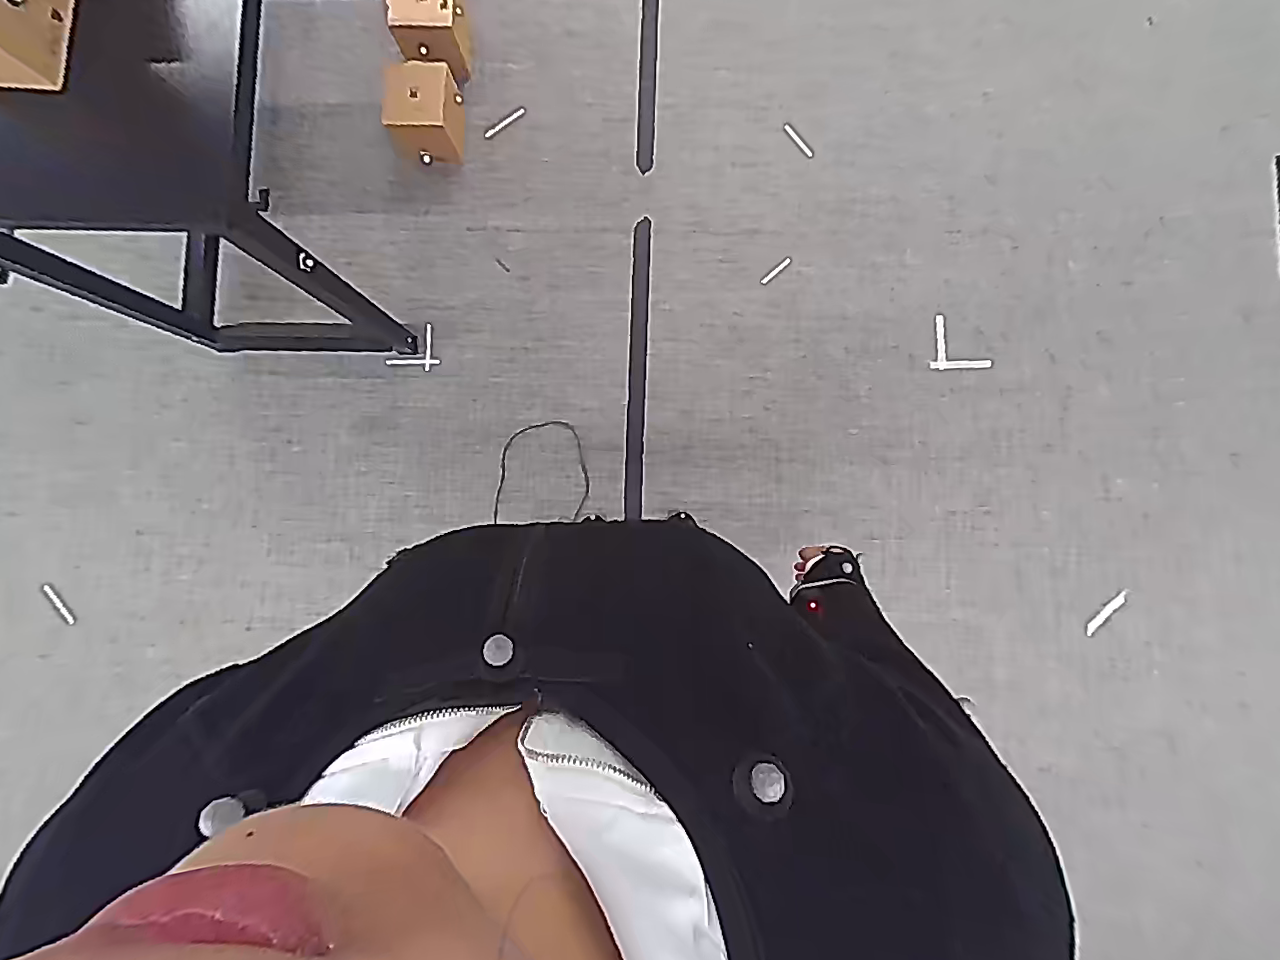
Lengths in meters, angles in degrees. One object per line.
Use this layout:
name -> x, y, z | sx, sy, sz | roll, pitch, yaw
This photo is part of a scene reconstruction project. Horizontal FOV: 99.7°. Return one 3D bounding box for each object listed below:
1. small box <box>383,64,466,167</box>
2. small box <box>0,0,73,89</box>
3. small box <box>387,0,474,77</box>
small box -> -0.593, -1.011, 1.506 | 0.168, 0.176, 0.179 | 1, 87, 2
small box -> -0.969, -0.690, 0.759 | 0.179, 0.176, 0.168 | 4, 86, 1
small box -> -0.583, -1.273, 1.520 | 0.179, 0.176, 0.168 | 0, 87, 1
